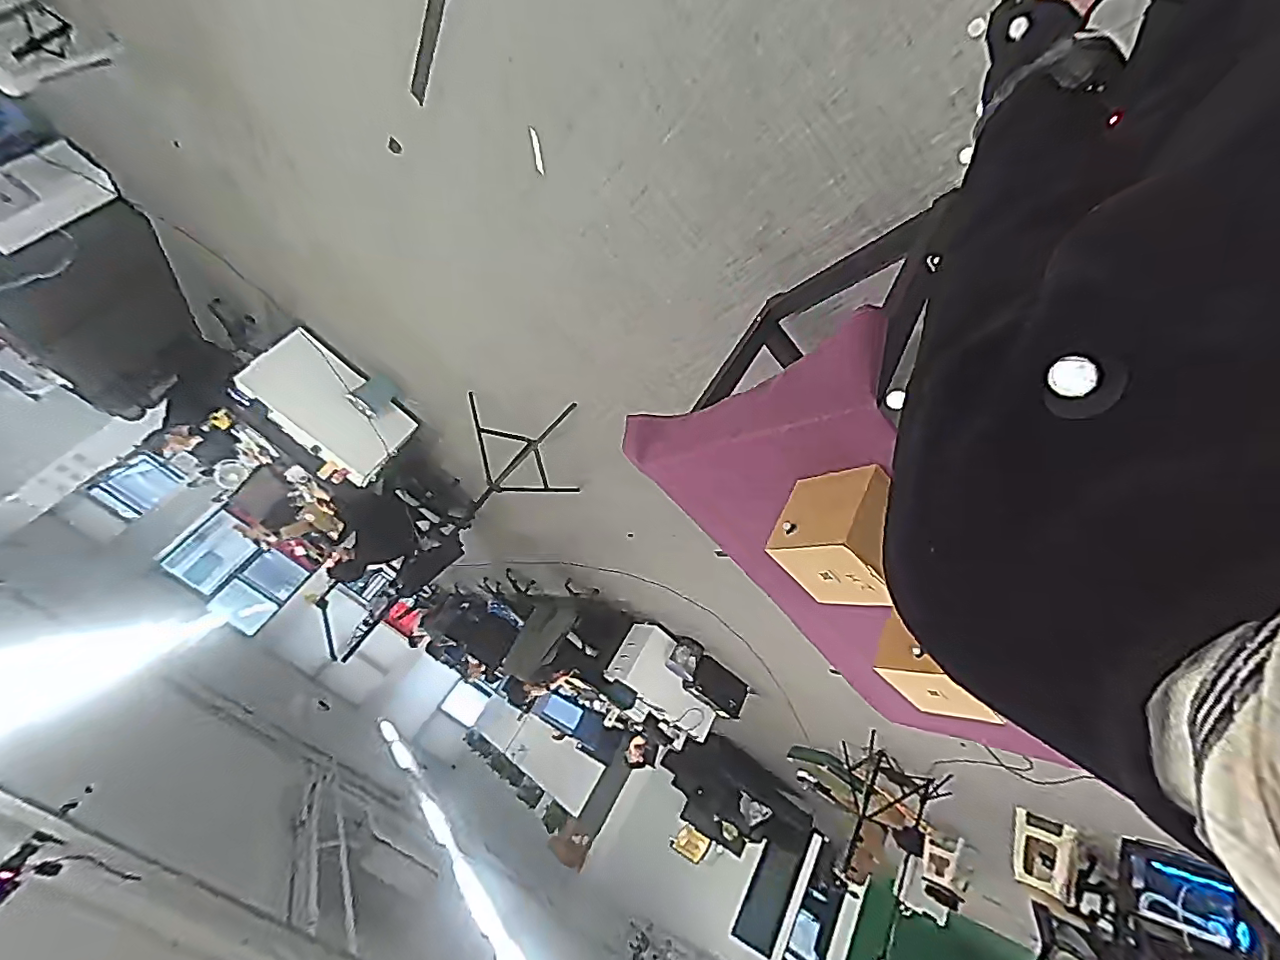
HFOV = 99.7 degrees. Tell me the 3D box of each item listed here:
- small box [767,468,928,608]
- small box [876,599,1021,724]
[{"bbox_3d":[0.362,0.101,0.941,0.168,0.176,0.179,42,152,-18],"label":"small box"},{"bbox_3d":[0.616,0.353,1.078,0.168,0.176,0.179,41,151,-14],"label":"small box"}]
